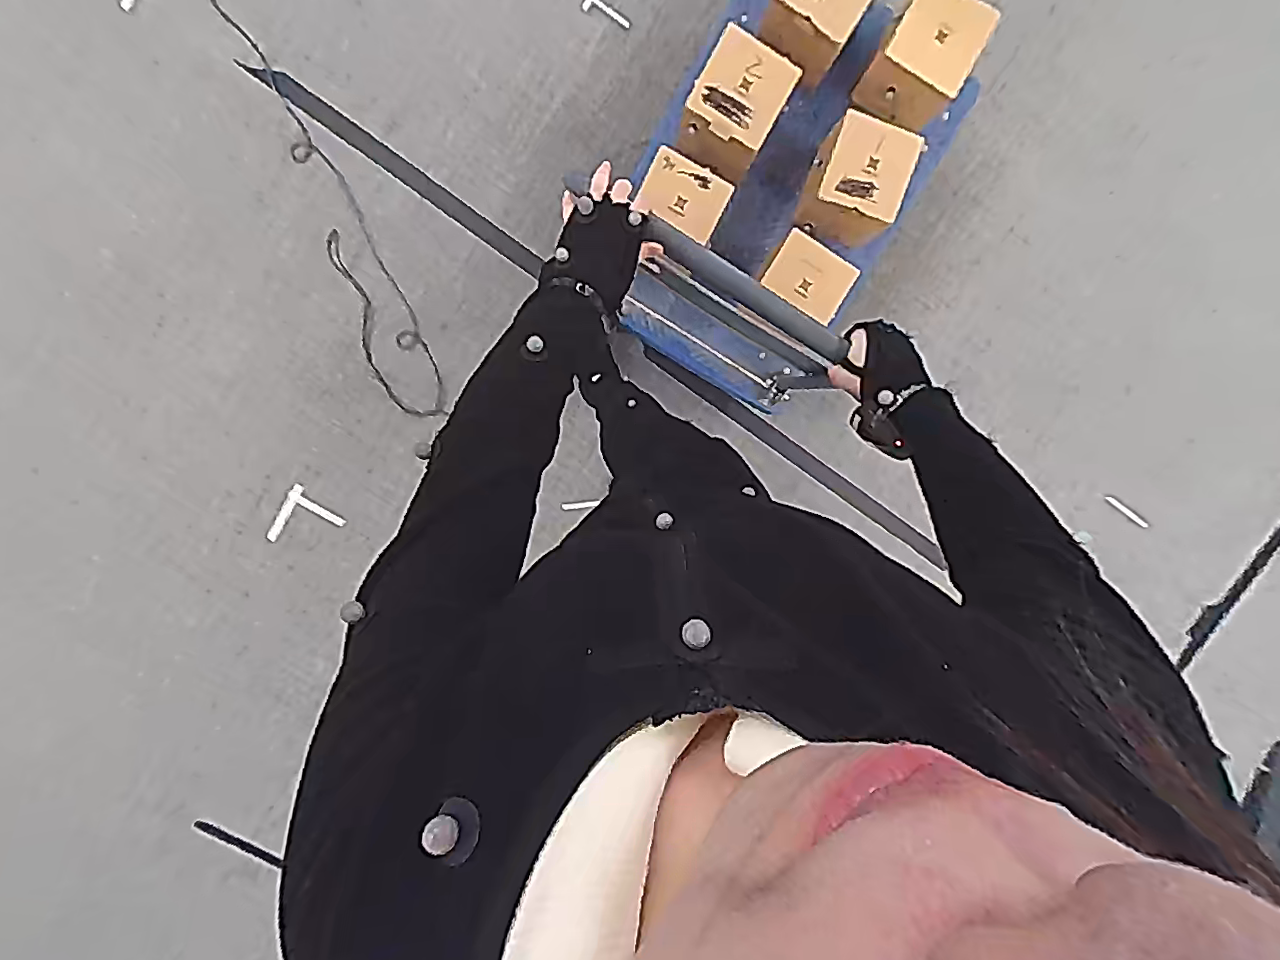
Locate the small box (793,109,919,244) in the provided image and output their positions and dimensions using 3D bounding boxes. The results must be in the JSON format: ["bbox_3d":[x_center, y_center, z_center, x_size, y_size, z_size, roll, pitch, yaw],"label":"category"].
[{"bbox_3d":[0.446,-0.631,1.152,0.168,0.176,0.179,19,96,-5],"label":"small box"}]

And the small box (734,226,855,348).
[{"bbox_3d":[0.323,-0.406,1.178,0.168,0.176,0.179,31,95,-7],"label":"small box"}]

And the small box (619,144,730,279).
[{"bbox_3d":[0.066,-0.553,1.143,0.168,0.176,0.179,27,96,-7],"label":"small box"}]

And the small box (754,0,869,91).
[{"bbox_3d":[0.356,-0.957,1.100,0.168,0.176,0.179,33,96,-7],"label":"small box"}]

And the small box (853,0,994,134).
[{"bbox_3d":[0.573,-0.871,1.126,0.168,0.176,0.179,28,96,-6],"label":"small box"}]
